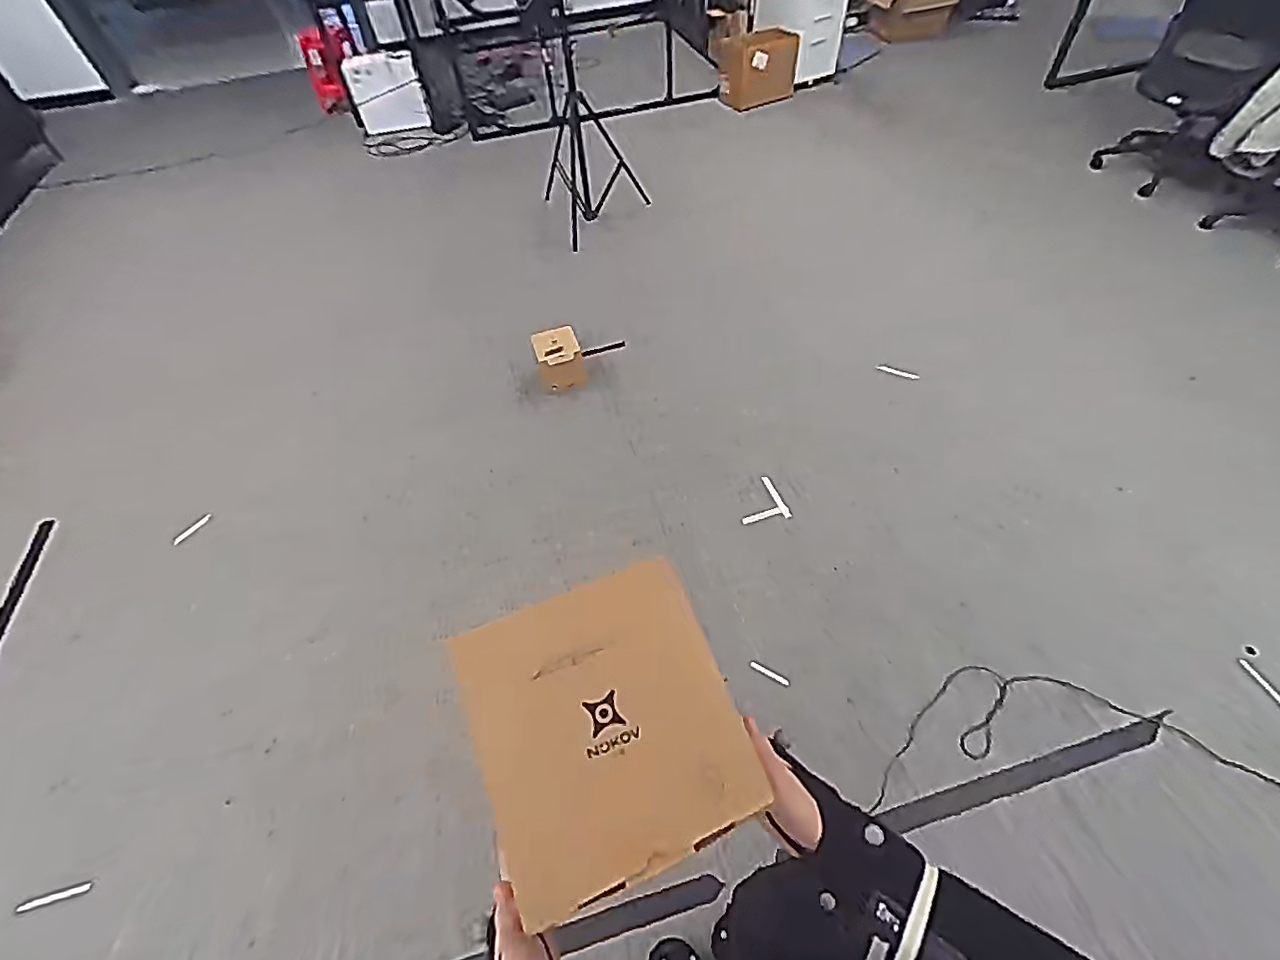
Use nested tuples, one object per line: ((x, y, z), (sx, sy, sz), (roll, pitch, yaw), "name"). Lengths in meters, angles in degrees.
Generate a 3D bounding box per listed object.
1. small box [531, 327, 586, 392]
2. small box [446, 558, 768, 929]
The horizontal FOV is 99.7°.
((-0.321, -0.470, 2.144), (0.168, 0.176, 0.179), (-17, 53, -8), "small box")
((-0.030, 0.189, 0.423), (0.168, 0.176, 0.179), (-20, 67, -14), "small box")
